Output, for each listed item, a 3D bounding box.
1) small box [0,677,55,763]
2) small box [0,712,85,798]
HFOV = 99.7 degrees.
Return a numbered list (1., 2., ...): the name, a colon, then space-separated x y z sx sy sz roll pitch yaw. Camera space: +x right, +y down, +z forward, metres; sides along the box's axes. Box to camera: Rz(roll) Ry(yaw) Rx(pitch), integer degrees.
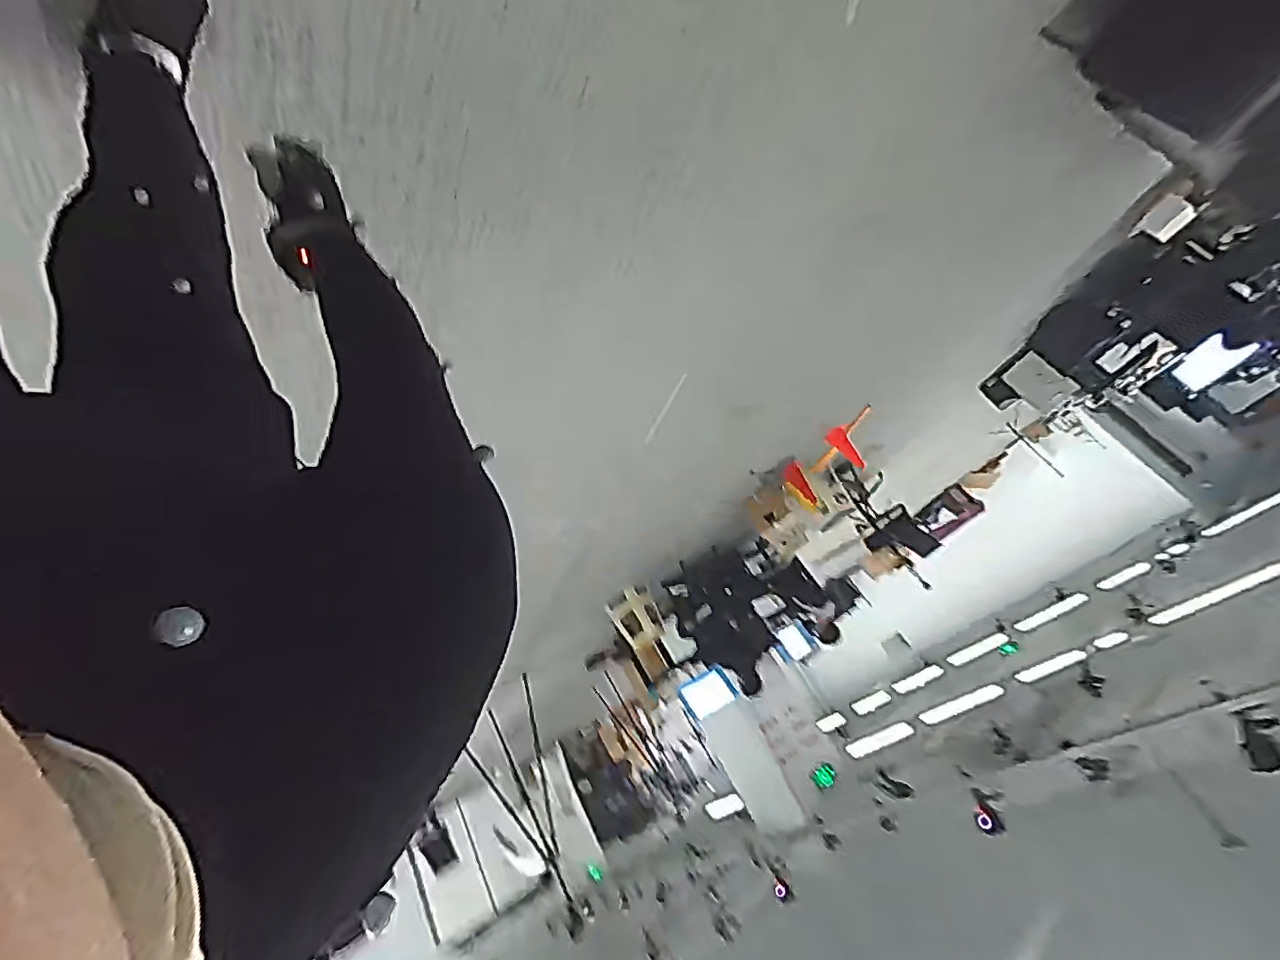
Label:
1. small box: -1.811 0.685 1.533 0.168 0.176 0.179 -13 149 -37
2. small box: -1.899 0.864 1.709 0.168 0.176 0.179 -15 149 -38
